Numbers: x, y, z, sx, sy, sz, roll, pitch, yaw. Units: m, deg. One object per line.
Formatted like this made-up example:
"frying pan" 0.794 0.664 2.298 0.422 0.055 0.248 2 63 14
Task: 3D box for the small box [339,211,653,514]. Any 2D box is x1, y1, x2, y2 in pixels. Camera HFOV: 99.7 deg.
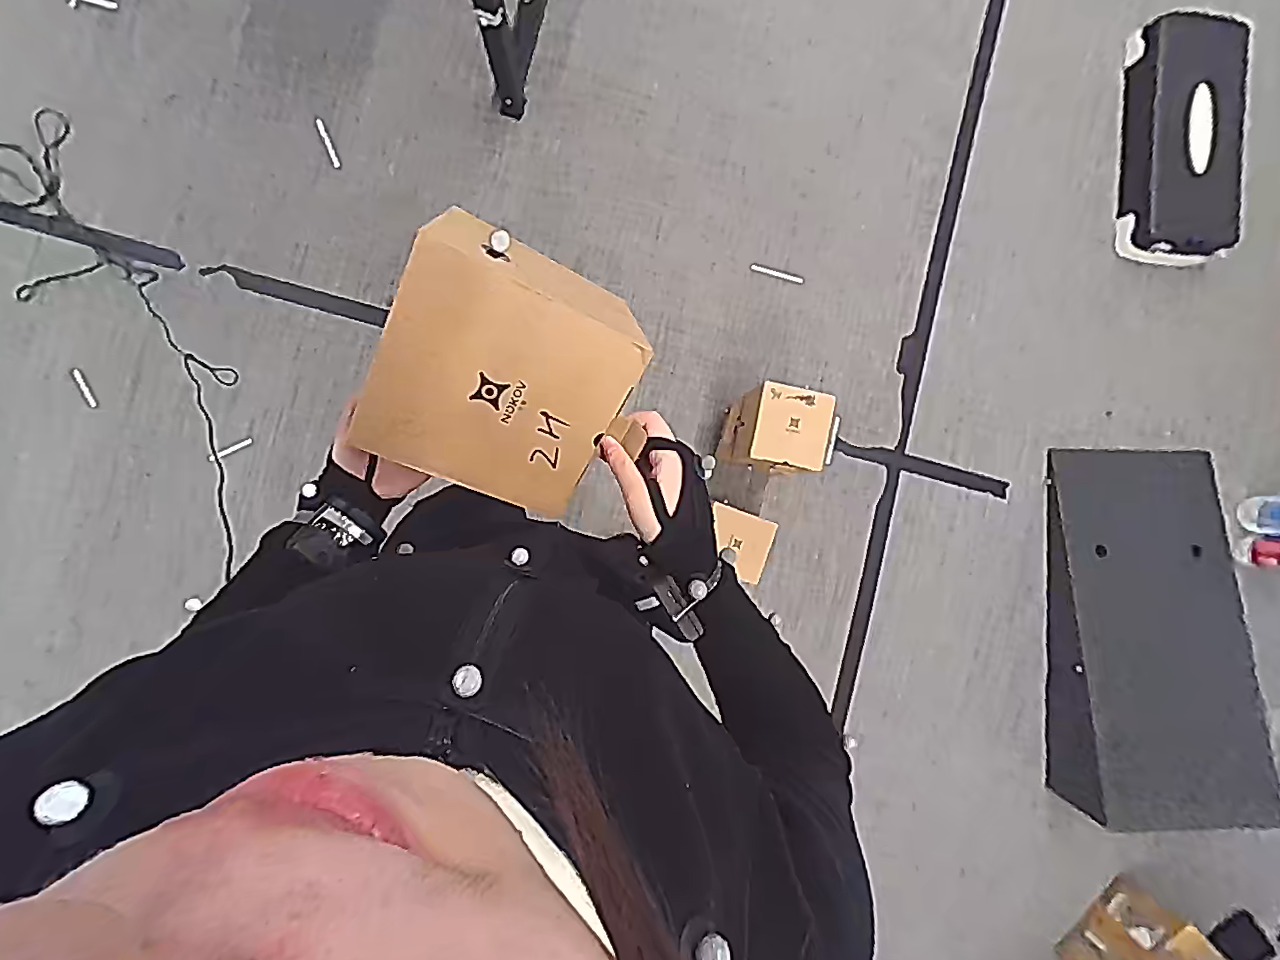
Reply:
"small box" -0.116 -0.105 0.456 0.179 0.176 0.168 22 114 -23

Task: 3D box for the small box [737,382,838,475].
"small box" 0.333 -0.114 1.259 0.168 0.176 0.179 12 90 -3

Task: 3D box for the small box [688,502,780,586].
"small box" 0.237 0.161 1.419 0.179 0.176 0.168 20 89 -4

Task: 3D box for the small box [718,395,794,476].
"small box" 0.319 -0.109 1.422 0.179 0.176 0.168 17 89 -4
